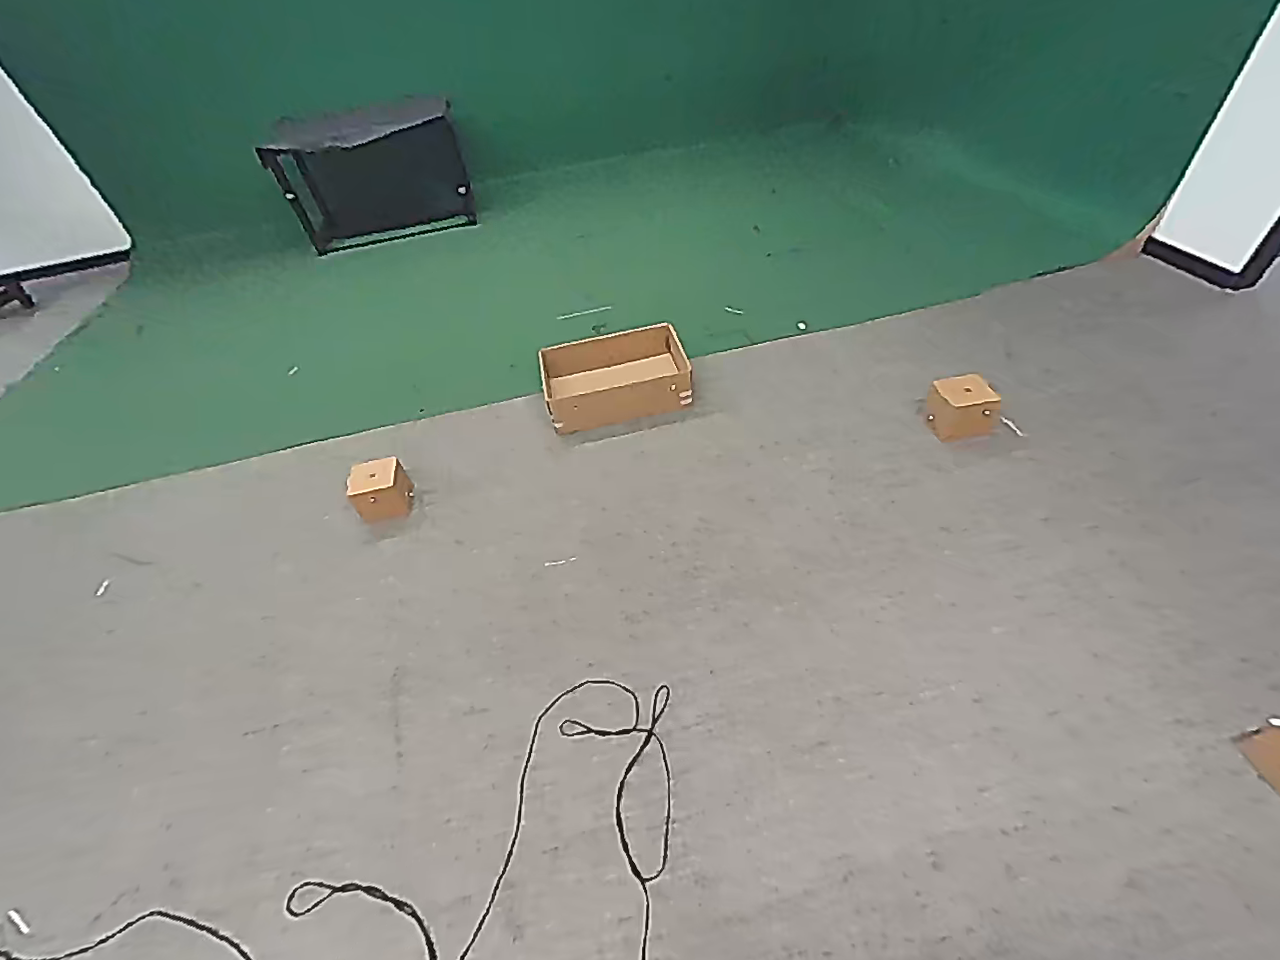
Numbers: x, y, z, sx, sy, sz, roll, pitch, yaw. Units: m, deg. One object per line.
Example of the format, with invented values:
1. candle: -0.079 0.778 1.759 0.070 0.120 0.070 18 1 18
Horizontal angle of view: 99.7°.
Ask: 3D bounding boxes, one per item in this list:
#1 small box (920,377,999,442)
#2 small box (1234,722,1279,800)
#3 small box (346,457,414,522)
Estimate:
1. small box: 1.193 -0.263 2.033 0.179 0.176 0.168 -9 46 0
2. small box: 1.476 0.617 1.161 0.168 0.176 0.179 -13 45 -3
3. small box: -0.994 0.040 2.077 0.179 0.176 0.168 -13 48 -6
